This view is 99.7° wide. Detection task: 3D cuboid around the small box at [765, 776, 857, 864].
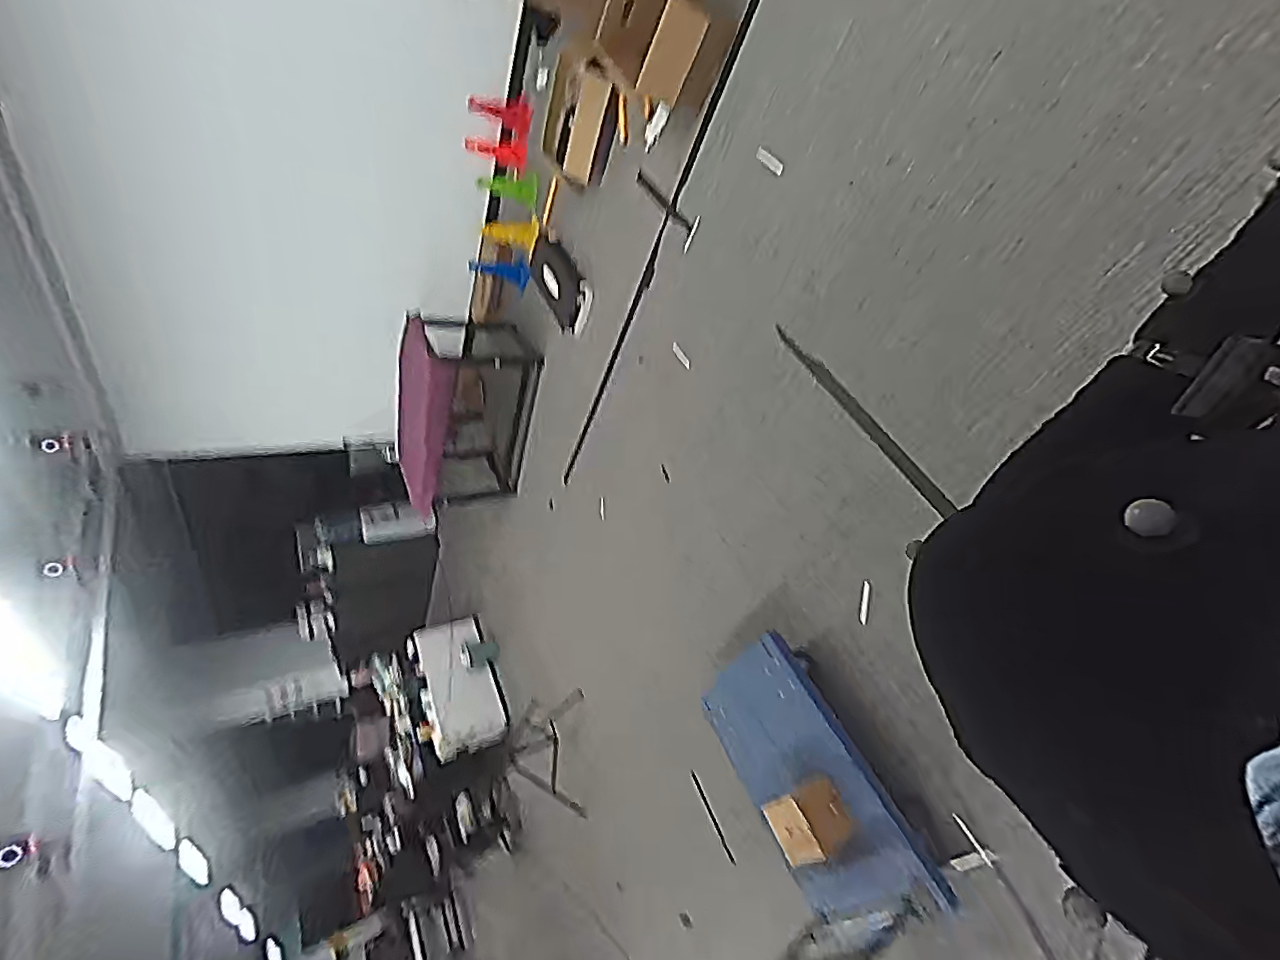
[{"bbox_3d":[0.531,1.051,1.676,0.168,0.176,0.179,61,140,28],"label":"small box"}]
